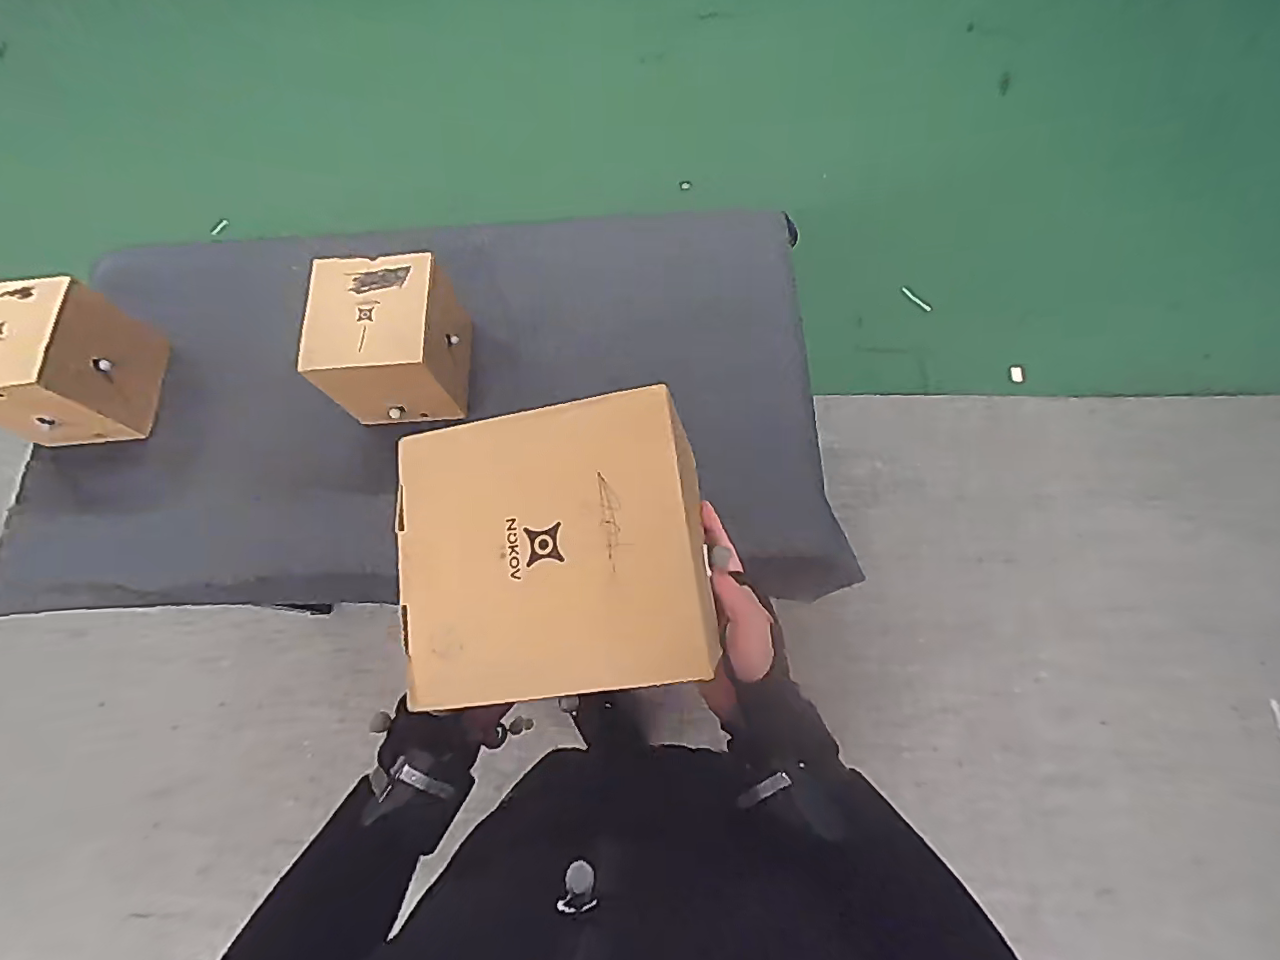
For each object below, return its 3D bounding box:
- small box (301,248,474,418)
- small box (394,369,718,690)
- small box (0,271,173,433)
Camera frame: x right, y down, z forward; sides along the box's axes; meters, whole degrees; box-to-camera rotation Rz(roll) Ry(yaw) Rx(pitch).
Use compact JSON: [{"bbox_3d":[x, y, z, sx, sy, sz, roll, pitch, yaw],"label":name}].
[{"bbox_3d":[-0.351,-0.206,0.789,0.168,0.176,0.179,-3,72,2],"label":"small box"},{"bbox_3d":[-0.046,0.043,0.386,0.179,0.176,0.168,-10,78,8],"label":"small box"},{"bbox_3d":[-0.851,-0.177,0.803,0.168,0.176,0.179,-5,72,0],"label":"small box"}]
